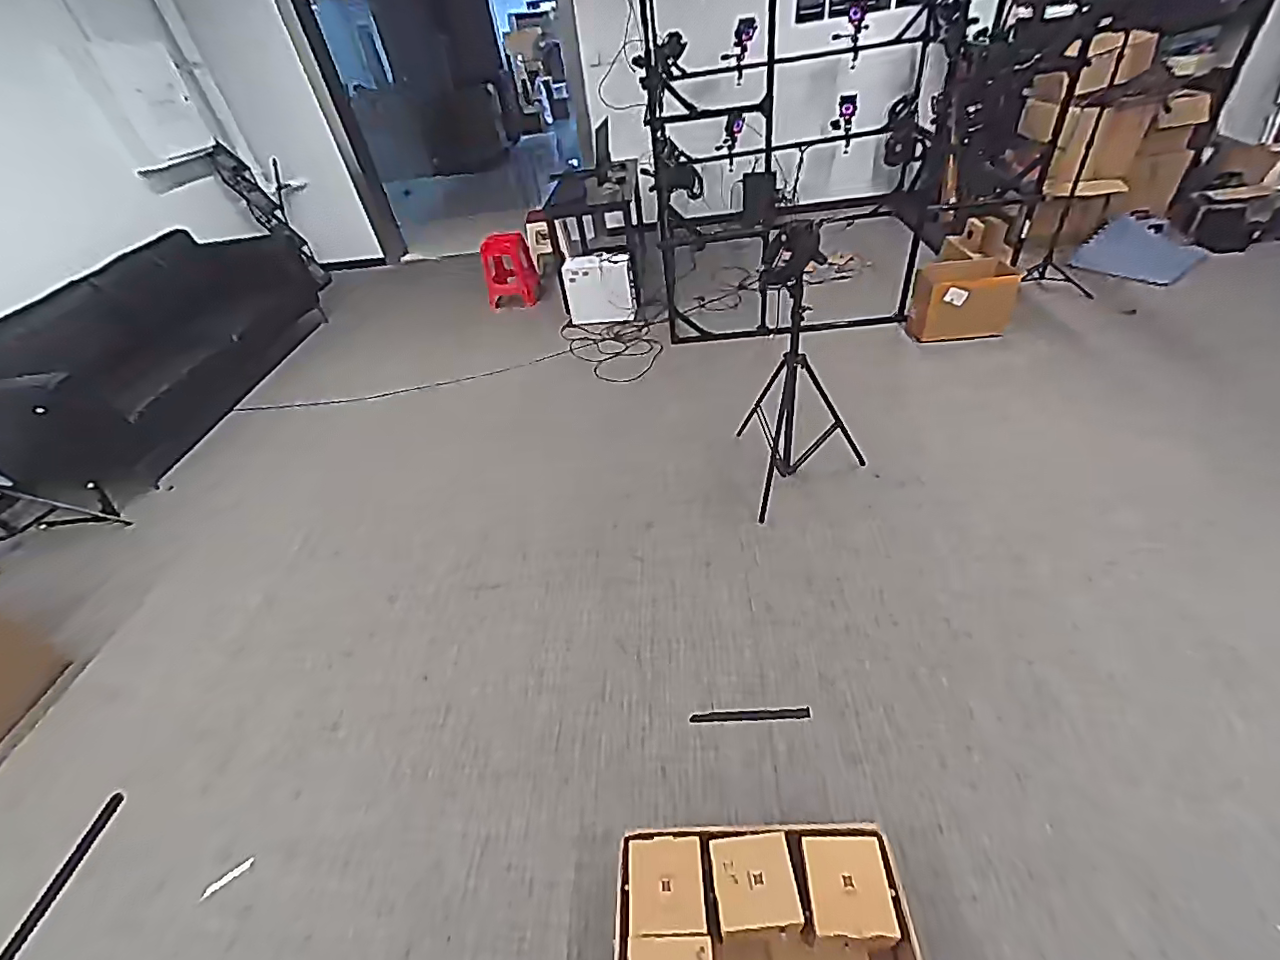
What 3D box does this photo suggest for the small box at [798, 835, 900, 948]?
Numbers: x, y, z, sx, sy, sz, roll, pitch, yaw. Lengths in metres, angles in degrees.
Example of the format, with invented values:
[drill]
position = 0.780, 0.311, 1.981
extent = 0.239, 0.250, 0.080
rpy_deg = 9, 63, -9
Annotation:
[small box]
position = 0.452, 0.913, 1.201
extent = 0.168, 0.176, 0.179
rpy_deg = -5, 44, 7
